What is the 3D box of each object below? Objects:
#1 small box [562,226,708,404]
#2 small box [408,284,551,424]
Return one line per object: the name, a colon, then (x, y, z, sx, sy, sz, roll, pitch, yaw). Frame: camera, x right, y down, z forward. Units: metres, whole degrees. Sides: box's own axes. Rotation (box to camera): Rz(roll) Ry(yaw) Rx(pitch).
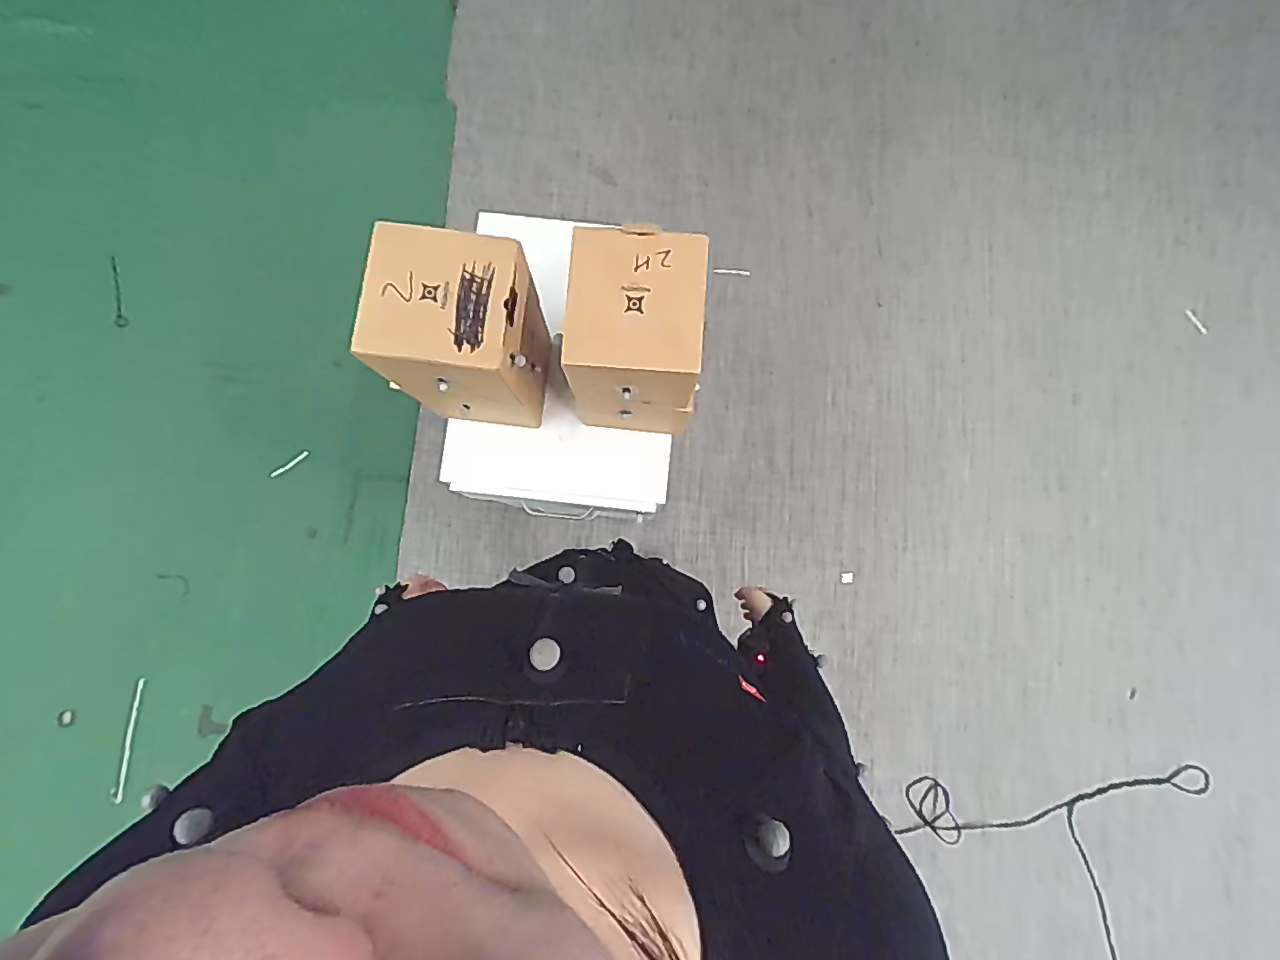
small box: (-0.005, -0.207, 0.723, 0.168, 0.176, 0.179, 4, 83, -1)
small box: (-0.249, -0.195, 0.882, 0.179, 0.176, 0.168, 7, 83, -3)
